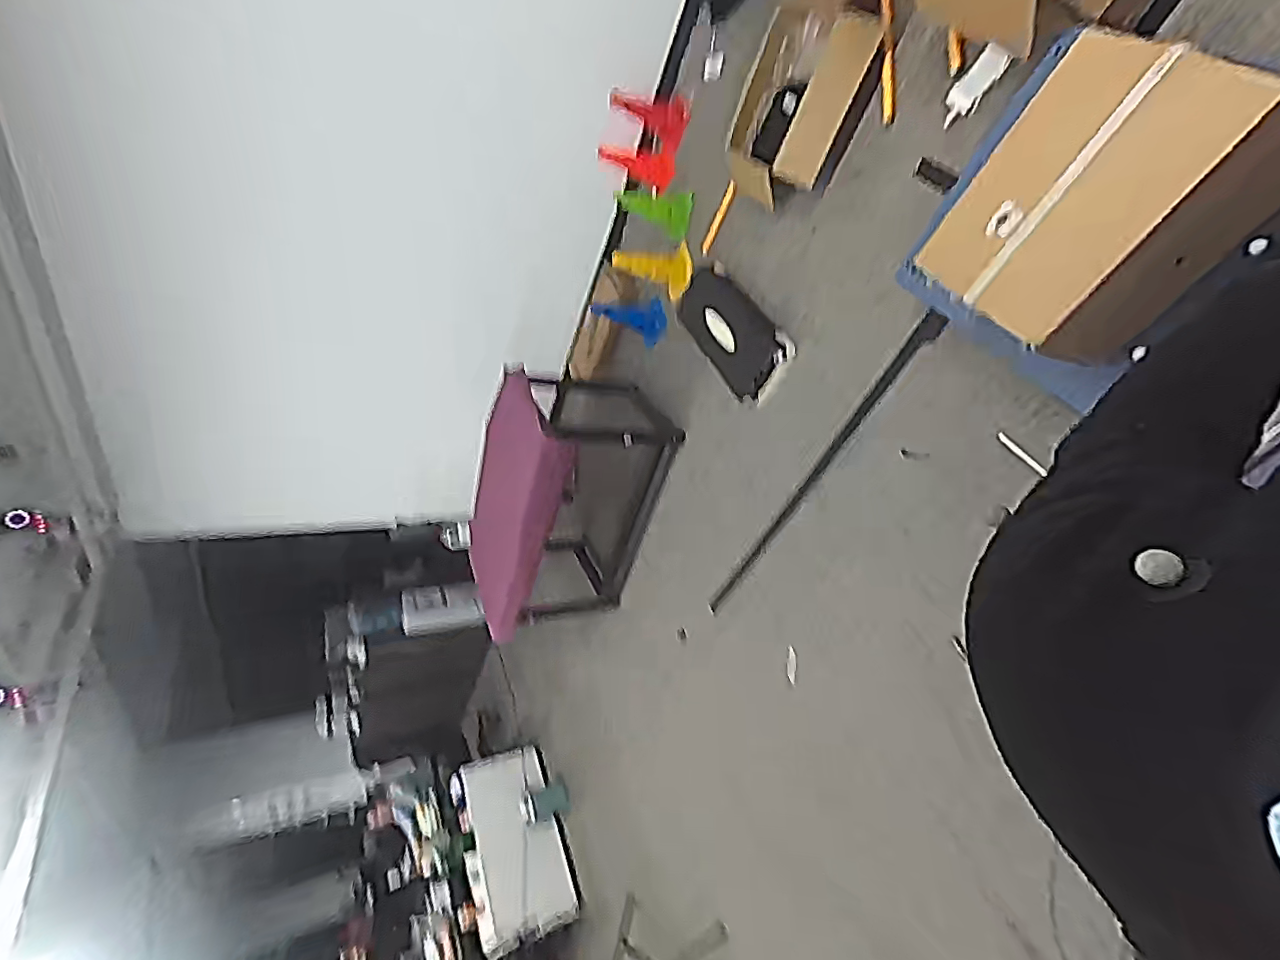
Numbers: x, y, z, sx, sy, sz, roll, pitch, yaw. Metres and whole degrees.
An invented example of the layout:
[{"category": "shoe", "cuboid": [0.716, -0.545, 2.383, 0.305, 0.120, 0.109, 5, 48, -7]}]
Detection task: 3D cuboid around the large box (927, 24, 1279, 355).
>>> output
[{"category": "large box", "cuboid": [0.834, -0.485, 0.965, 0.320, 0.320, 0.408, 63, 140, 37]}]
